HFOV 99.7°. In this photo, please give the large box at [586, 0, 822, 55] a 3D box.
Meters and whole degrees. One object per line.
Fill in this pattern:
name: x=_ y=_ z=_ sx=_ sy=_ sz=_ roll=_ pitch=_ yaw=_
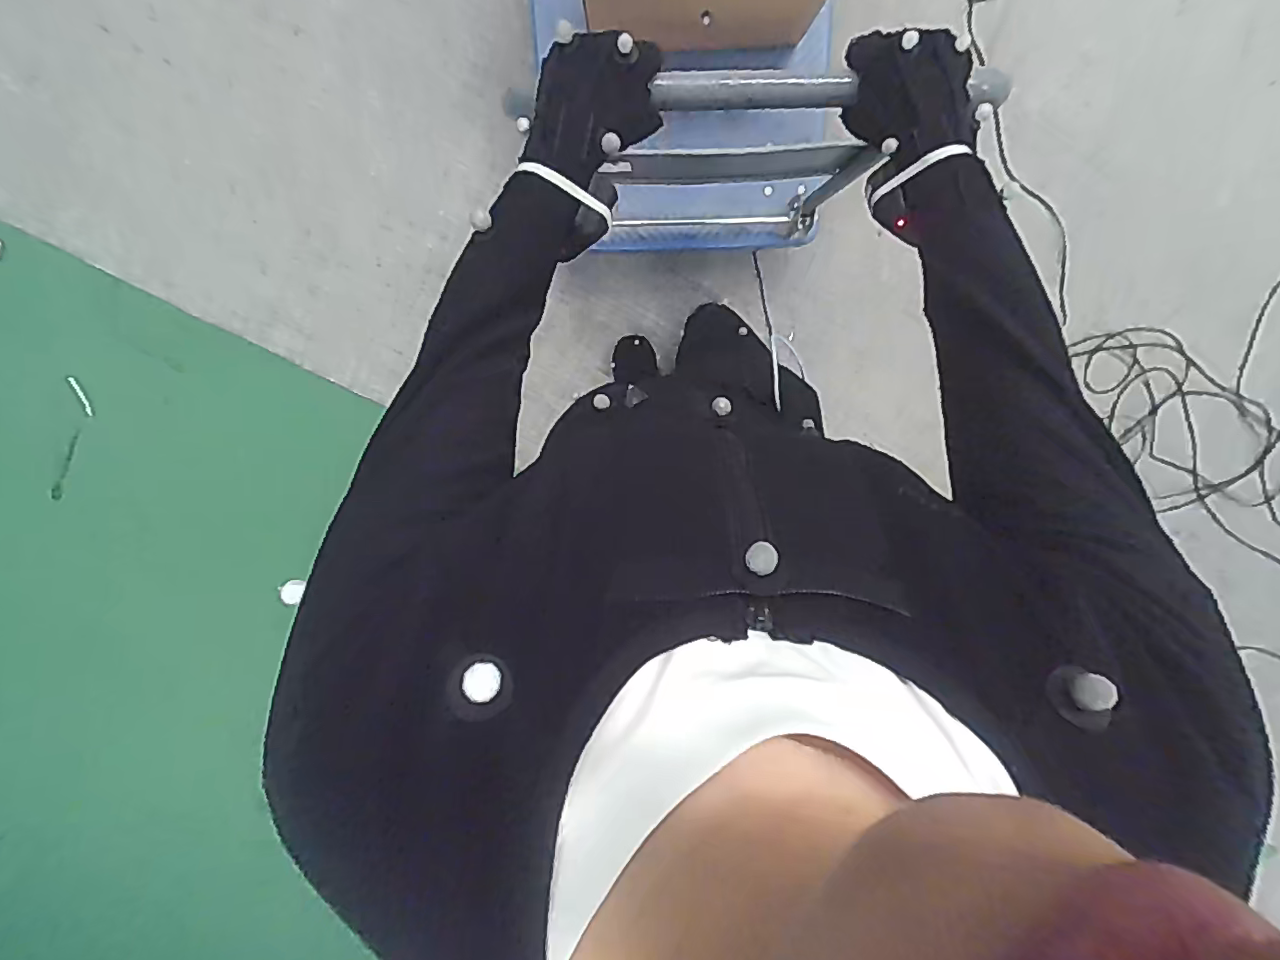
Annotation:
large box: x=0.104 y=-0.941 z=0.874 sx=0.408 sy=0.320 sz=0.320 roll=-3 pitch=107 yaw=0
